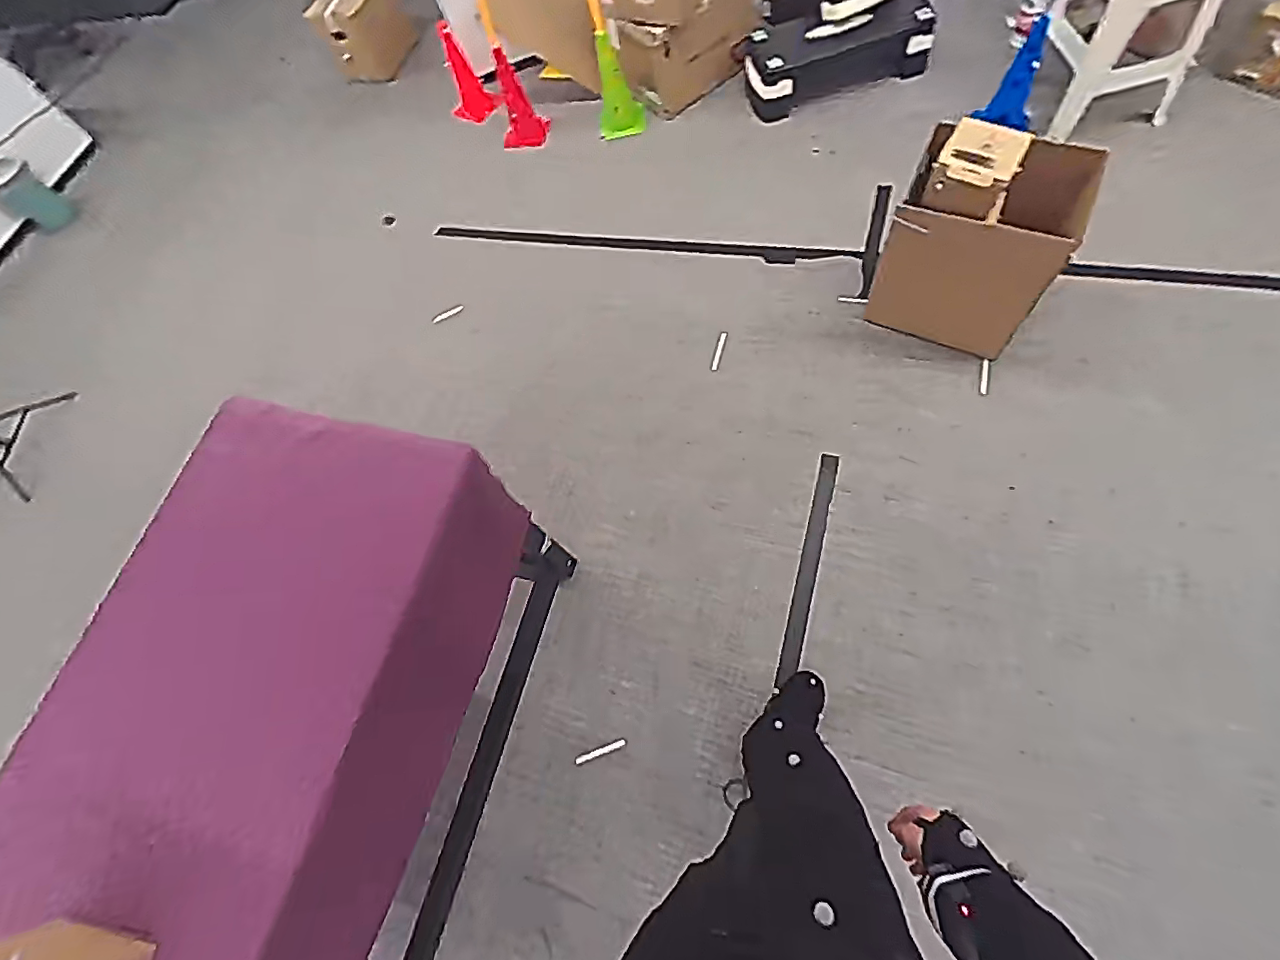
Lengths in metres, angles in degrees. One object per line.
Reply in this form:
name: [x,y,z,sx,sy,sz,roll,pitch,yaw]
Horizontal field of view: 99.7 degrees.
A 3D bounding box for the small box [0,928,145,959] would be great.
small box: [-0.771,0.683,0.654,0.179,0.176,0.168,2,67,13]
